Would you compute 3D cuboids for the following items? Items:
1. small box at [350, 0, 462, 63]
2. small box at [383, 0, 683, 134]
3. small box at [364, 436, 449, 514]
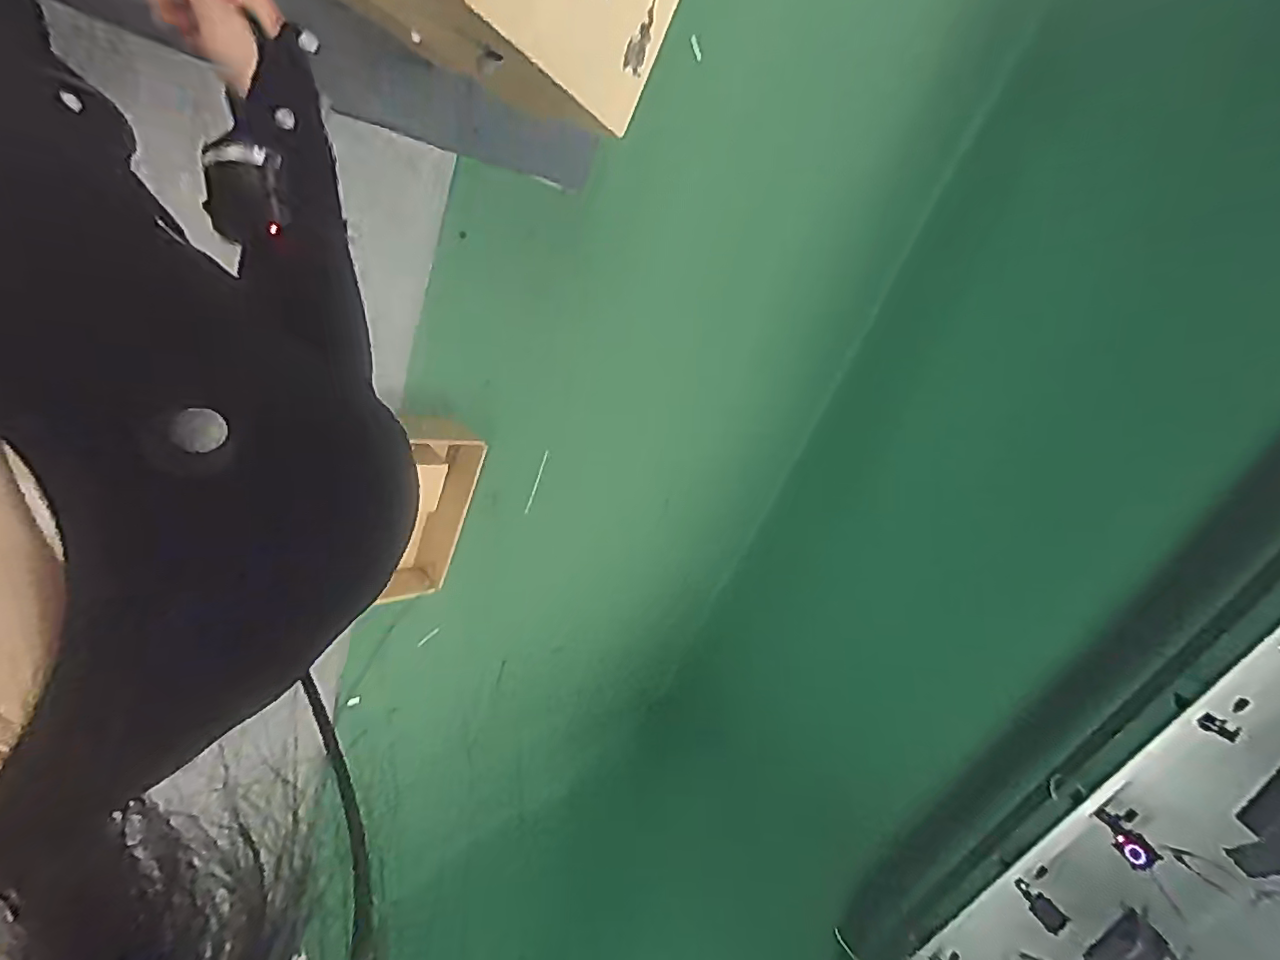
[{"bbox_3d":[-0.195,-0.514,0.497,0.179,0.176,0.168,-2,123,-53],"label":"small box"},{"bbox_3d":[-0.083,-0.414,0.427,0.179,0.176,0.168,4,118,-53],"label":"small box"},{"bbox_3d":[-0.711,-0.019,1.635,0.168,0.176,0.179,-2,125,-50],"label":"small box"}]
